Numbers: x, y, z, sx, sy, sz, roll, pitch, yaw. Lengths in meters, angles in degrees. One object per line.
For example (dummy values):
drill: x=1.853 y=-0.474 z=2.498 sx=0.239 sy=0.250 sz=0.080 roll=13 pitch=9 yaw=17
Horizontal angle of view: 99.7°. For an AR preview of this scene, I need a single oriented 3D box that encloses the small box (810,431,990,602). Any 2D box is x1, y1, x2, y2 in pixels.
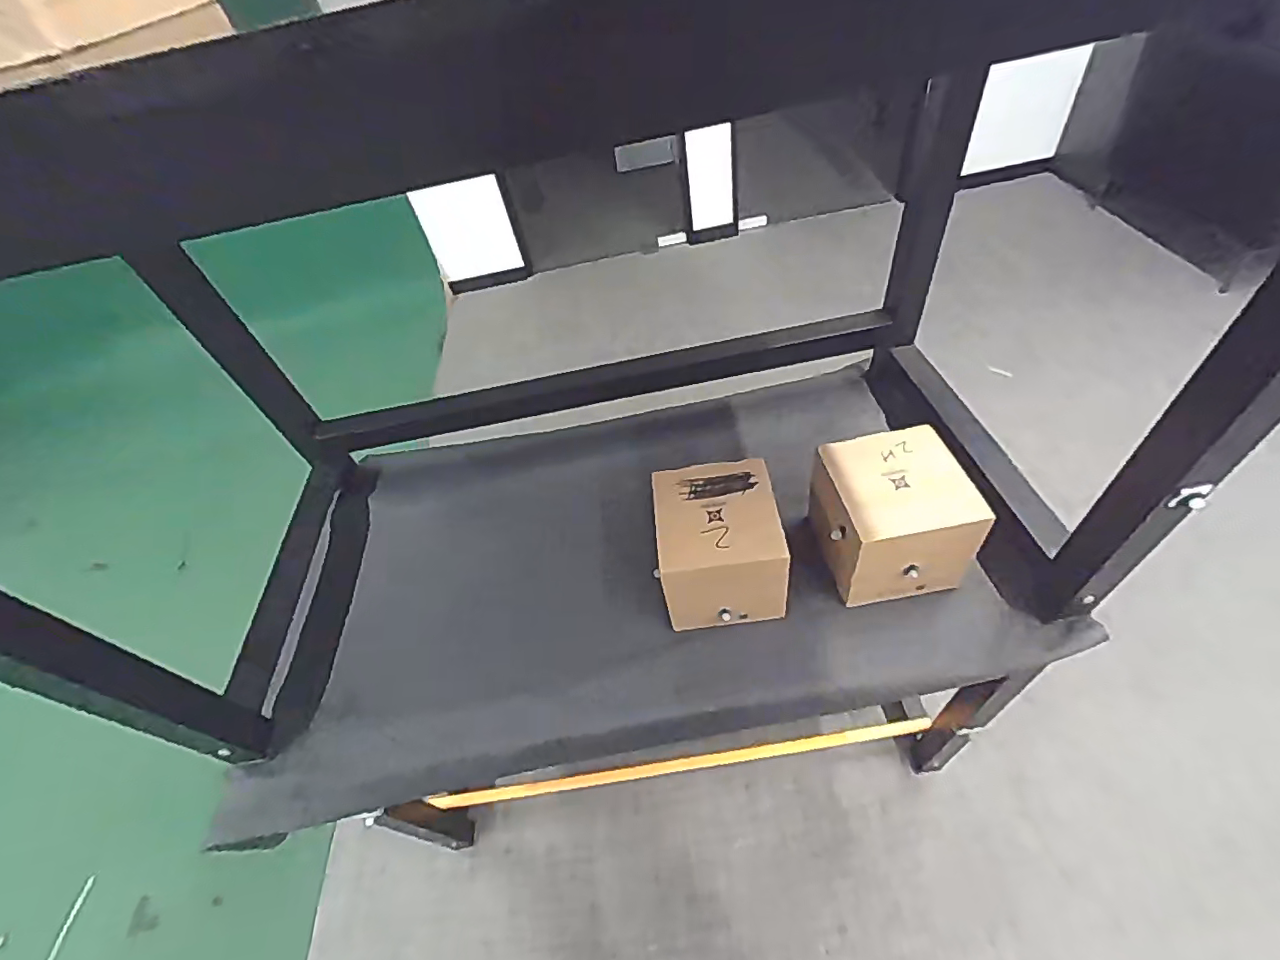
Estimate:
small box: x=0.355 y=0.060 z=0.779 sx=0.168 sy=0.176 sz=0.179 roll=-11 pitch=47 yaw=2
